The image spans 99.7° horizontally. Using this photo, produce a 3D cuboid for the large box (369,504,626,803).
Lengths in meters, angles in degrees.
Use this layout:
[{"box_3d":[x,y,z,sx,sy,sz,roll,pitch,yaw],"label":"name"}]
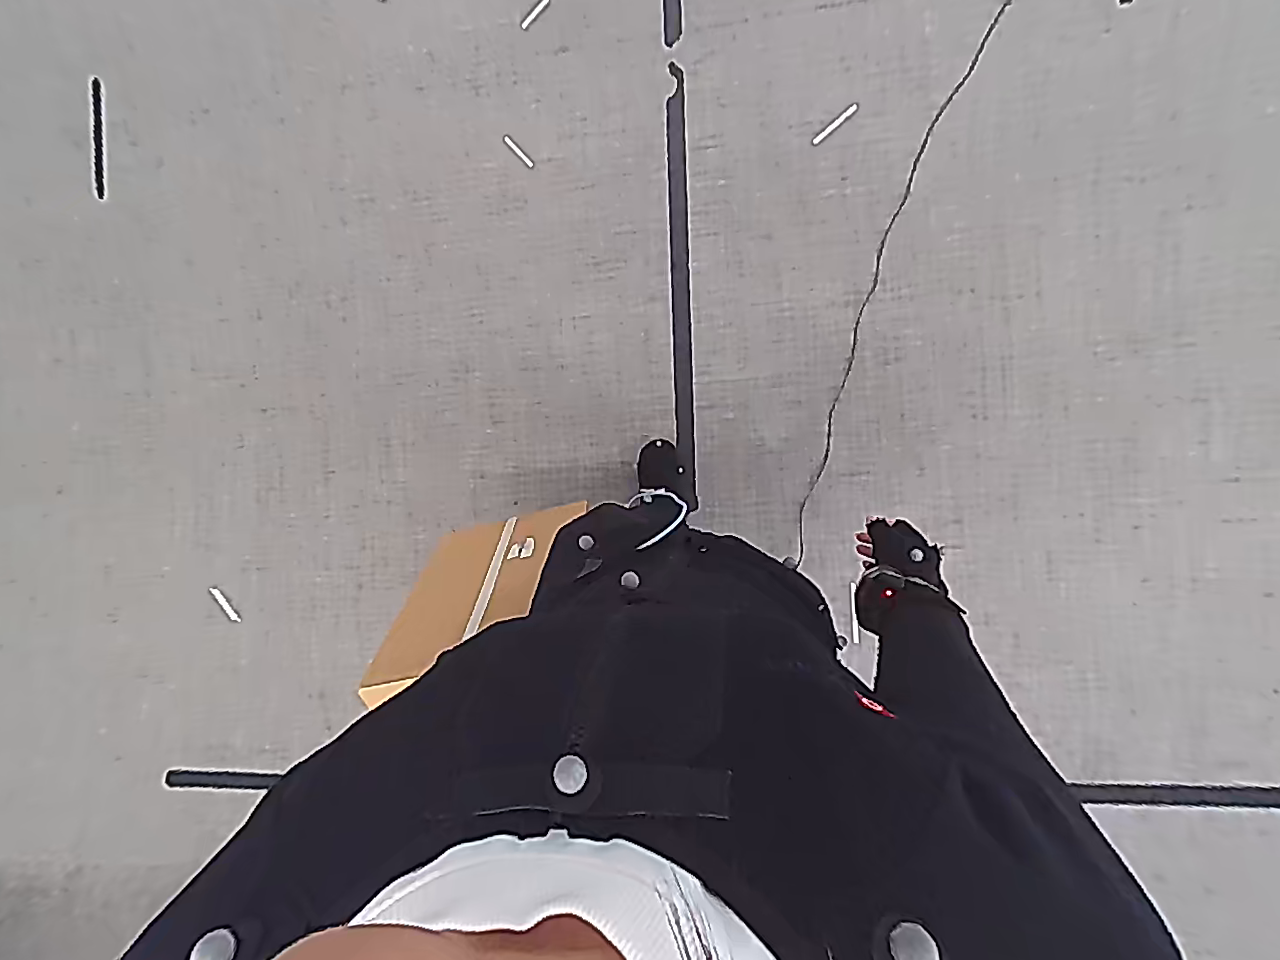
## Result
[{"box_3d":[-0.215,0.301,1.010,0.320,0.408,0.320,-13,116,7],"label":"large box"}]
